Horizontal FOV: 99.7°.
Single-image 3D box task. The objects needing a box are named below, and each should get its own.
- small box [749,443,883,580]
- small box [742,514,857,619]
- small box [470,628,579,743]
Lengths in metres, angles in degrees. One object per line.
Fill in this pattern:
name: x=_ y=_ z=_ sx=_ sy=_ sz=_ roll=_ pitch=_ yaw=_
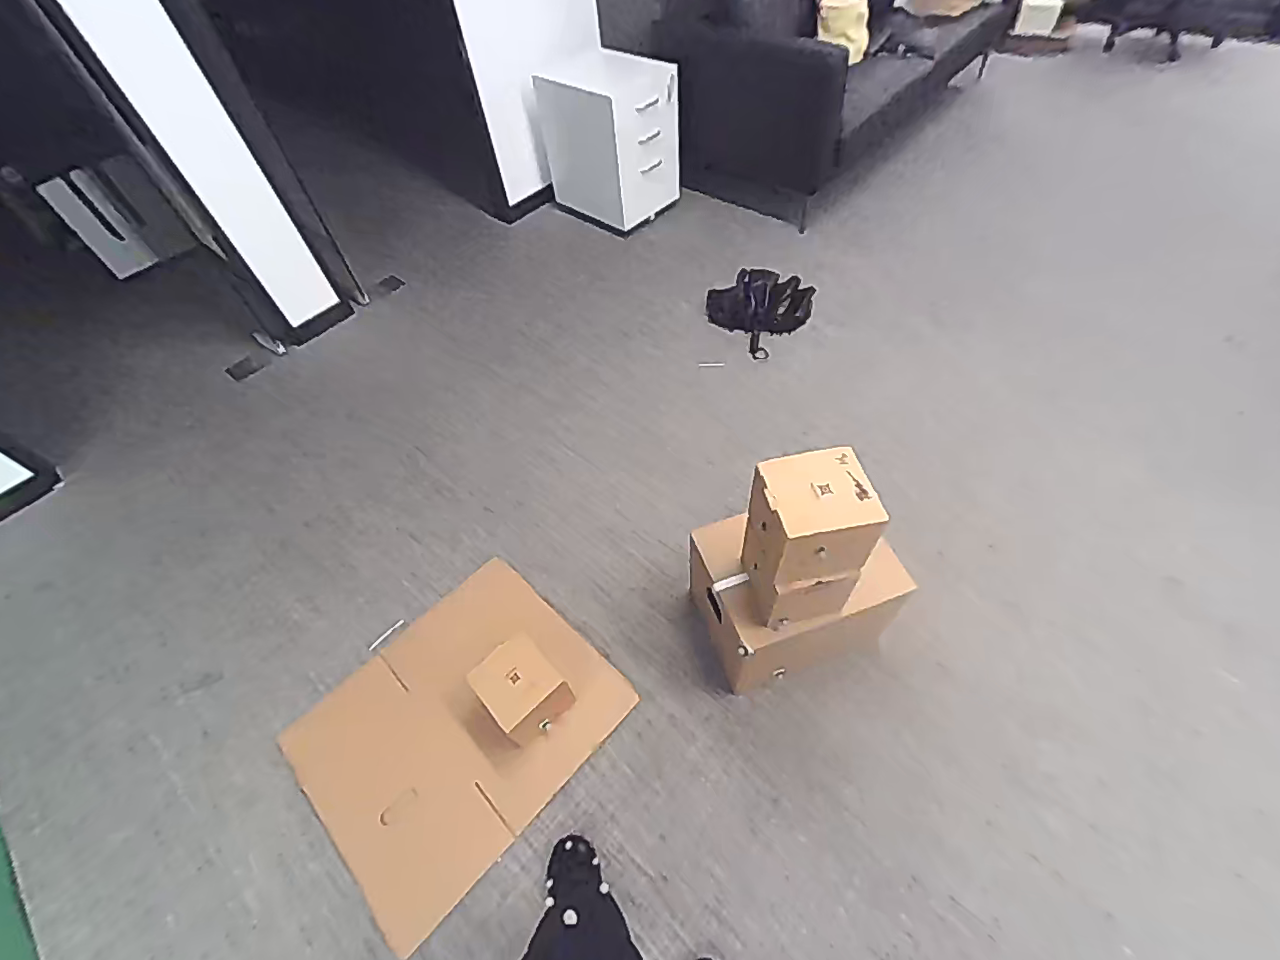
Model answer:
small box: x=0.307 y=0.063 z=0.989 sx=0.179 sy=0.176 sz=0.168 roll=-13 pitch=52 yaw=-5
small box: x=0.316 y=0.169 z=1.110 sx=0.168 sy=0.176 sz=0.179 roll=-12 pitch=53 yaw=-4
small box: x=-0.270 y=0.496 z=1.295 sx=0.168 sy=0.176 sz=0.179 roll=-40 pitch=60 yaw=-21
